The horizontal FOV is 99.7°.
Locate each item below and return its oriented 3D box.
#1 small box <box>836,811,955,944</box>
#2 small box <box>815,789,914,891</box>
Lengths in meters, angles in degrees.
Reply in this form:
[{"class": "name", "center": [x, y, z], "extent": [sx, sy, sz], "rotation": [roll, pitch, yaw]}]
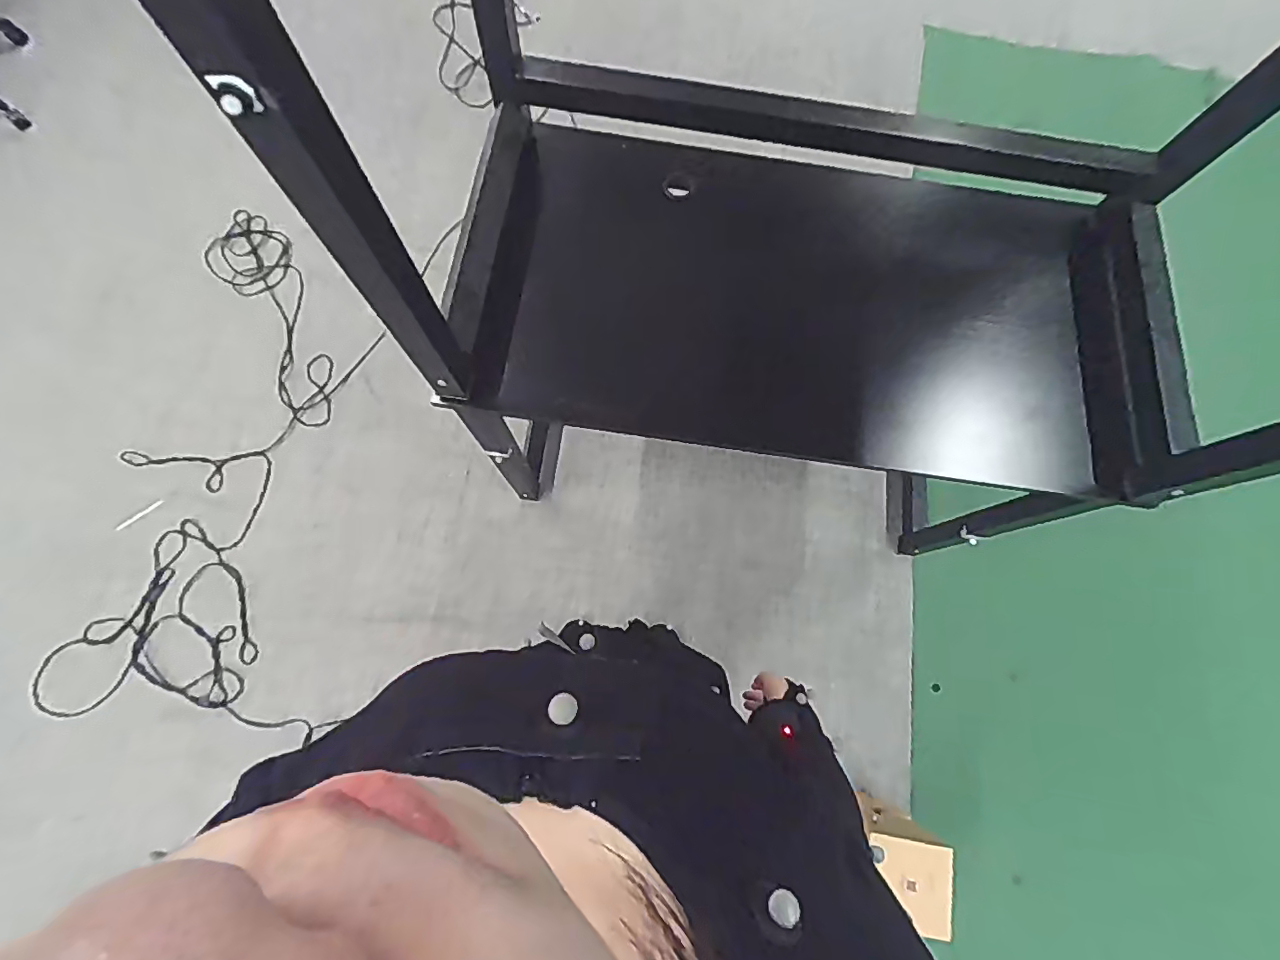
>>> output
[{"class": "small box", "center": [0.533, 0.830, 1.149], "extent": [0.179, 0.176, 0.168], "rotation": [10, 76, 0]}, {"class": "small box", "center": [0.535, 0.875, 1.304], "extent": [0.168, 0.176, 0.179], "rotation": [11, 76, 1]}]
